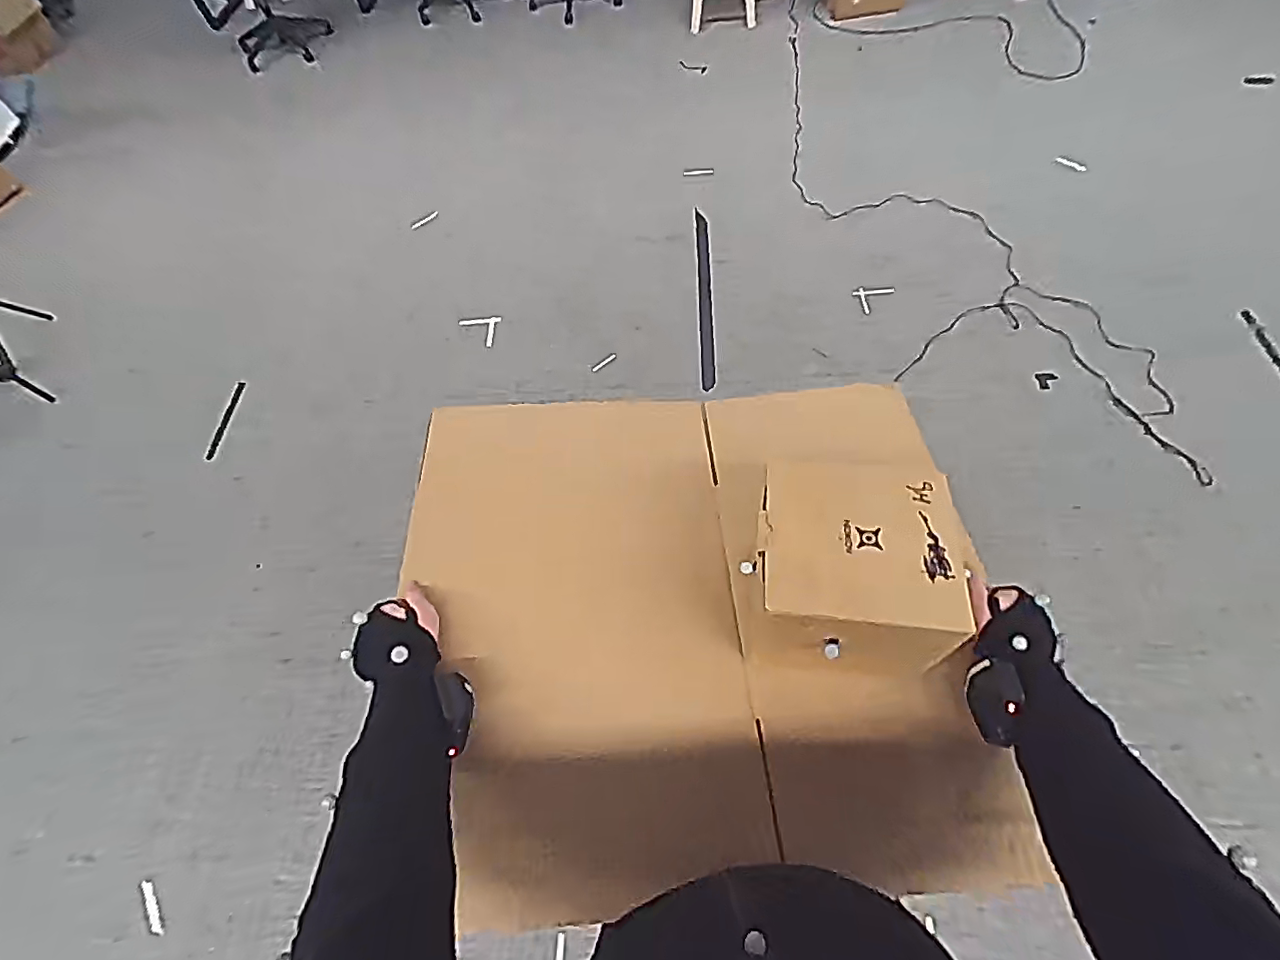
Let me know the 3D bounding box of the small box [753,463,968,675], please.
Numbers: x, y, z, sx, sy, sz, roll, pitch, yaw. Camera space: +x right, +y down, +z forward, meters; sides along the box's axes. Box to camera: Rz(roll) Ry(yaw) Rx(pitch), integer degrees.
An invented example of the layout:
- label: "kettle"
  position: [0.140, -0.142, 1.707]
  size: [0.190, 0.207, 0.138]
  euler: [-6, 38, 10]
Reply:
- label: "small box"
  position: [0.215, 0.099, 0.579]
  size: [0.179, 0.176, 0.168]
  euler: [3, 57, 10]
